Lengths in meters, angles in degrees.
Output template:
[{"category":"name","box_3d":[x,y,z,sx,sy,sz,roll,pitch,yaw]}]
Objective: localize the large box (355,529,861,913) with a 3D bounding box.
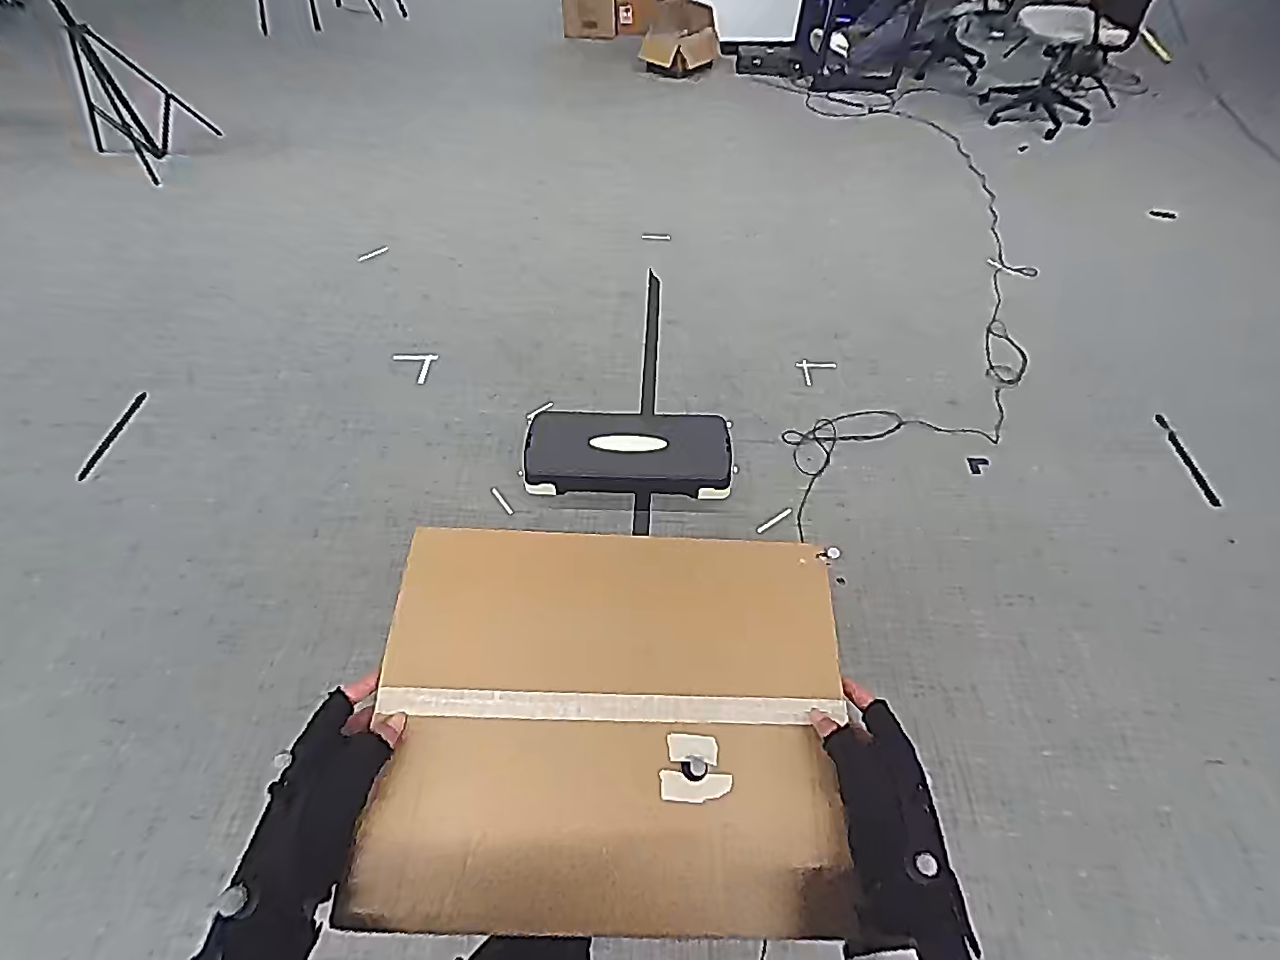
[{"category":"large box","box_3d":[-0.030,0.259,0.616,0.408,0.320,0.320,3,64,-3]}]
